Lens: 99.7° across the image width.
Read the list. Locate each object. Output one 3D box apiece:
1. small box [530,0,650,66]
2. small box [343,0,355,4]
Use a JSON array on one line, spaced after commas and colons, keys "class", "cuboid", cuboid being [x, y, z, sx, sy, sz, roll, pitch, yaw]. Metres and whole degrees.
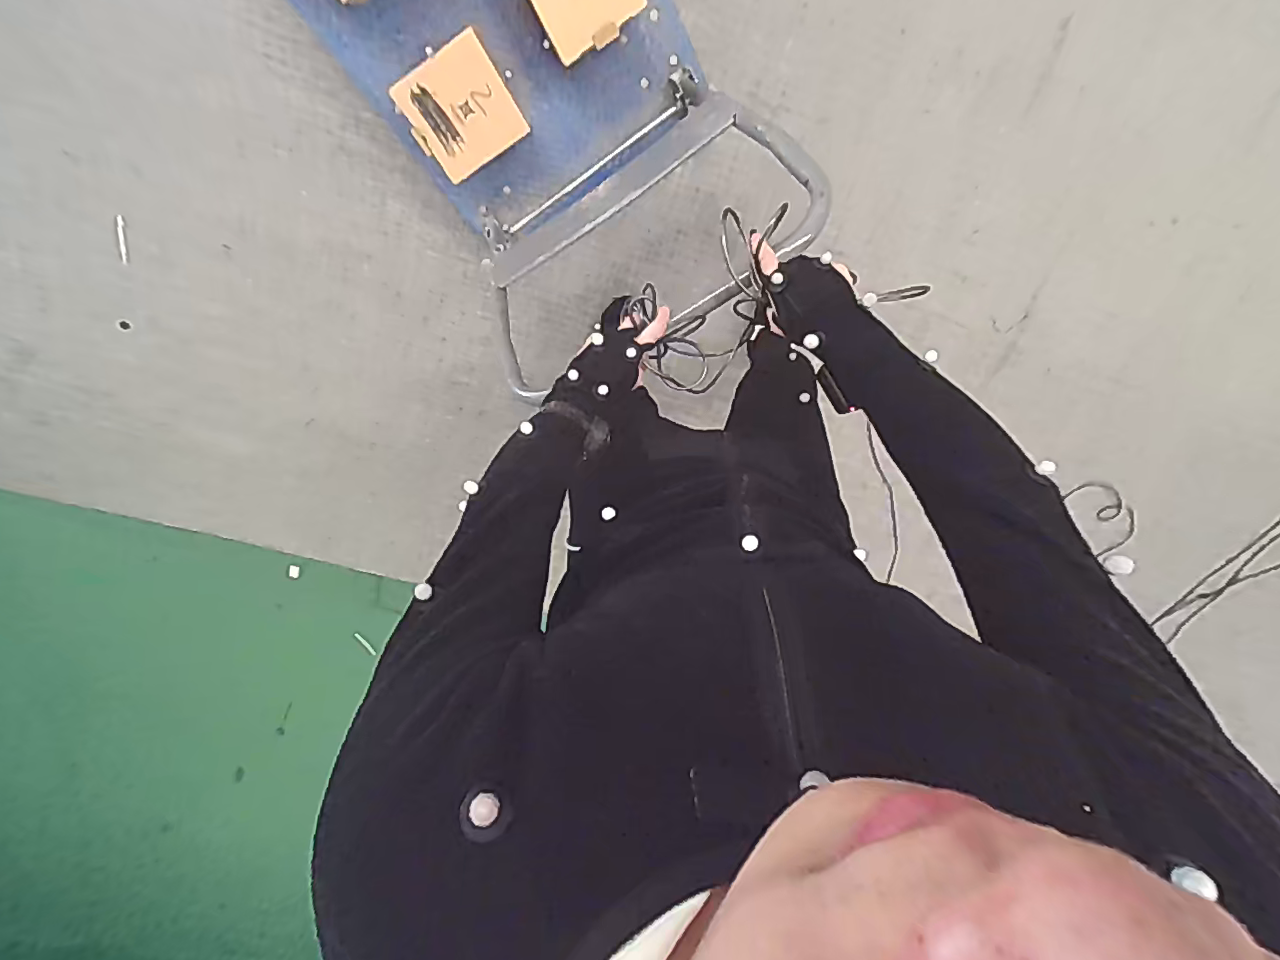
[{"class": "small box", "cuboid": [-0.106, -0.839, 0.905, 0.168, 0.176, 0.179, -27, 131, 13]}, {"class": "small box", "cuboid": [-0.442, -0.868, 0.809, 0.168, 0.176, 0.179, -32, 129, 15]}]
